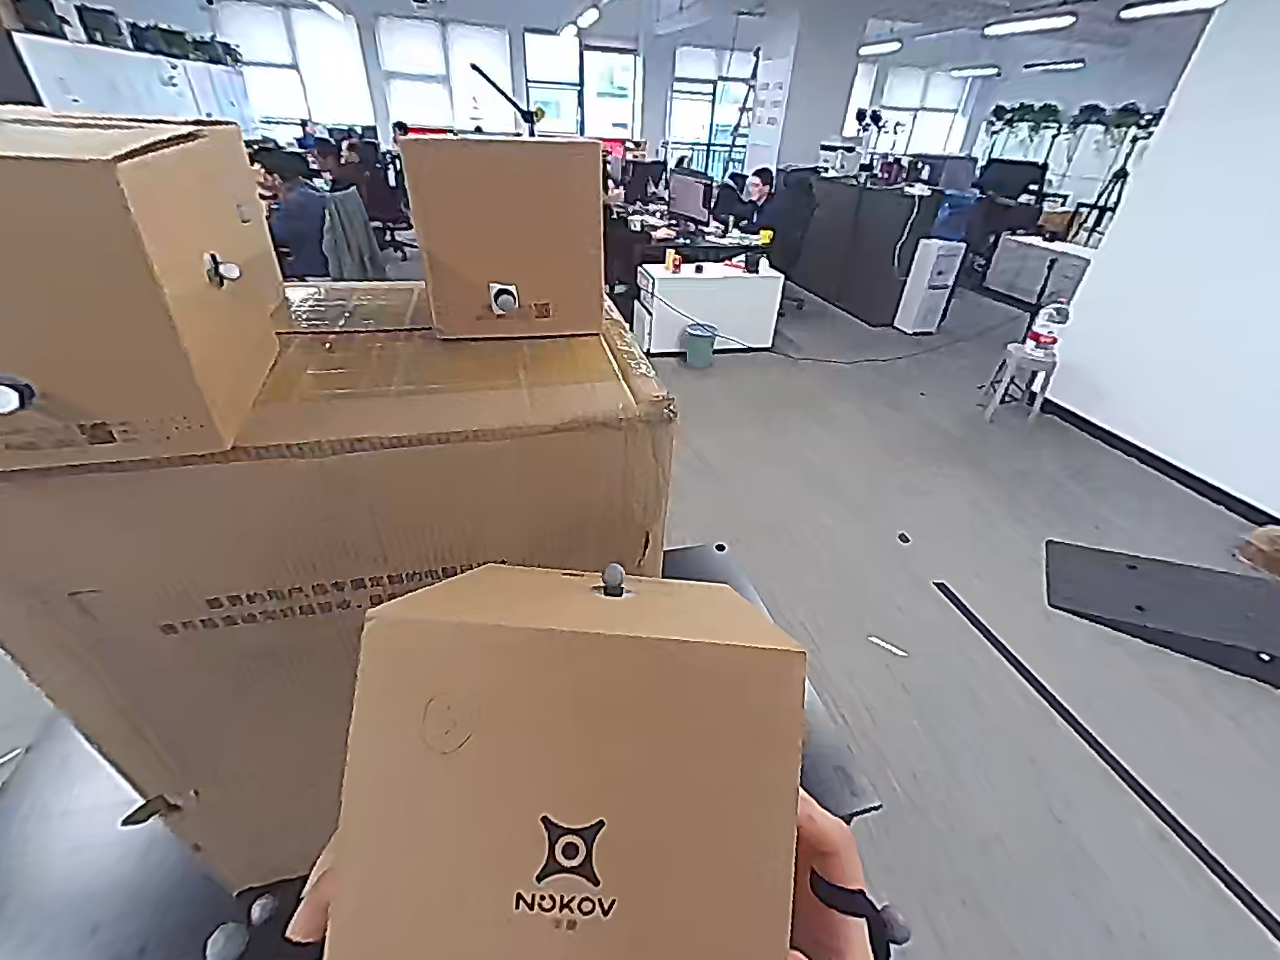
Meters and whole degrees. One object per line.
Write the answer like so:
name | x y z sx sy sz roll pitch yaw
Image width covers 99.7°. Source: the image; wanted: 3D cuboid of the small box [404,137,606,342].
small box | -0.129 -0.251 0.559 0.168 0.176 0.179 -7 34 -11

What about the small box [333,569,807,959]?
small box | -0.026 0.143 0.279 0.168 0.179 0.176 5 -4 0
